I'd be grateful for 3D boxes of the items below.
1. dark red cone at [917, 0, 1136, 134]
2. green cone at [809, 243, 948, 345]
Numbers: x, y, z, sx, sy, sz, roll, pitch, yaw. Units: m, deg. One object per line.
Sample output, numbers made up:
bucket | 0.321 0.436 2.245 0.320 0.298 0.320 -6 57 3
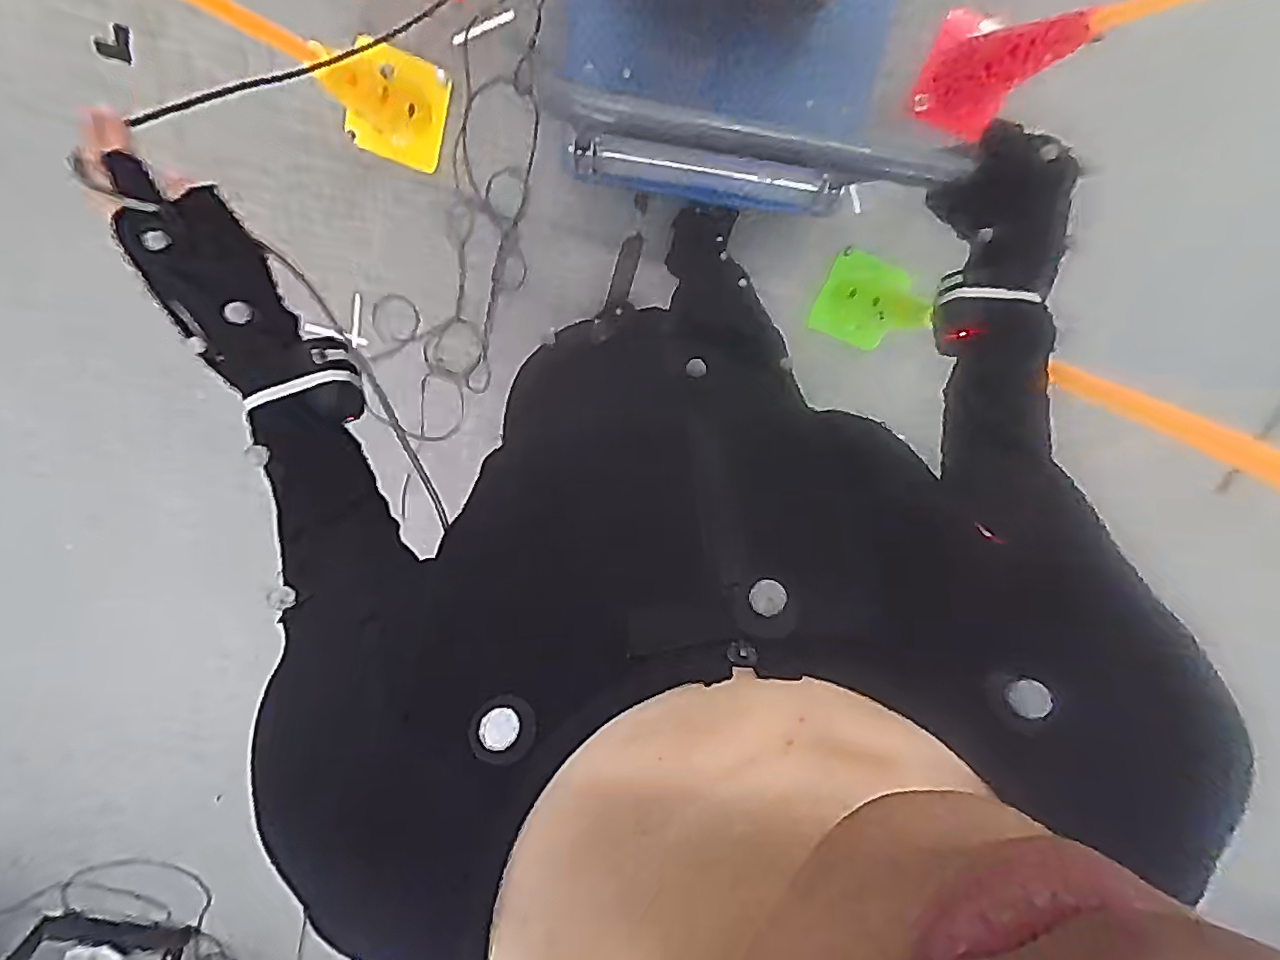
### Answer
dark red cone | 0.710 -0.796 0.982 0.201 0.394 0.202 14 113 -10
green cone | 0.549 -0.384 1.182 0.202 0.368 0.200 18 112 -11
